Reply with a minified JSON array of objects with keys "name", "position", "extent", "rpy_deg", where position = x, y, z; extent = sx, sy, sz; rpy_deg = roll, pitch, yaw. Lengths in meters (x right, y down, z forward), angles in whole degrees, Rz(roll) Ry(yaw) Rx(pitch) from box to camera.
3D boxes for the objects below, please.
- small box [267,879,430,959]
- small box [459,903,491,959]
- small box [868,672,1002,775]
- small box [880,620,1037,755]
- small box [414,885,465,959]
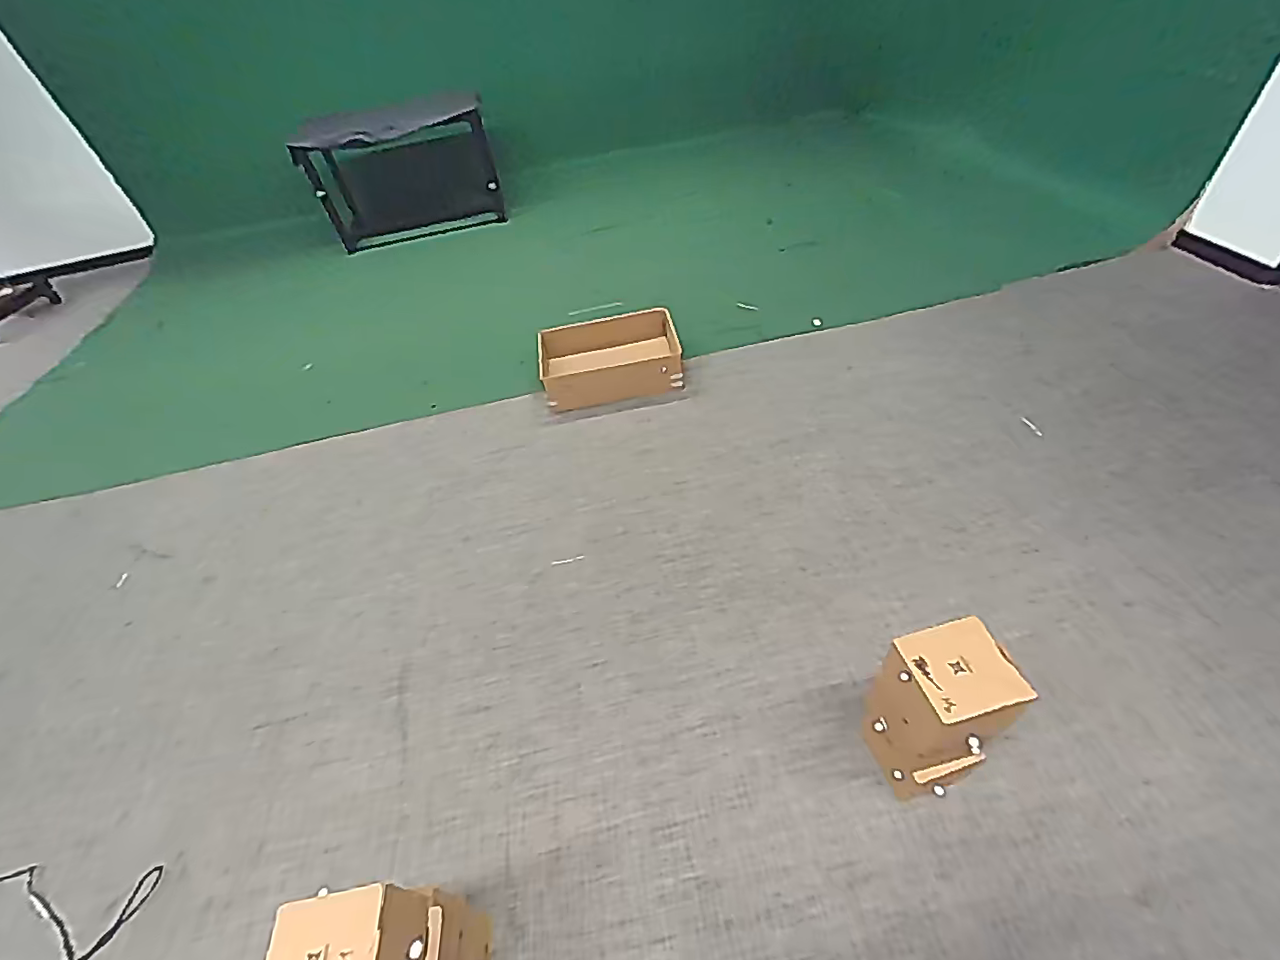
[{"name":"small box","position":[-0.461,0.761,0.858],"extent":[0.179,0.176,0.168],"rpy_deg":[-12,47,0]},{"name":"small box","position":[-0.412,0.982,1.097],"extent":[0.179,0.176,0.168],"rpy_deg":[-12,46,0]},{"name":"small box","position":[0.615,0.502,1.155],"extent":[0.179,0.176,0.168],"rpy_deg":[-15,46,-3]},{"name":"small box","position":[0.590,0.397,1.032],"extent":[0.179,0.176,0.168],"rpy_deg":[-14,46,-4]},{"name":"small box","position":[-0.435,0.862,0.986],"extent":[0.179,0.176,0.168],"rpy_deg":[-12,46,1]}]
